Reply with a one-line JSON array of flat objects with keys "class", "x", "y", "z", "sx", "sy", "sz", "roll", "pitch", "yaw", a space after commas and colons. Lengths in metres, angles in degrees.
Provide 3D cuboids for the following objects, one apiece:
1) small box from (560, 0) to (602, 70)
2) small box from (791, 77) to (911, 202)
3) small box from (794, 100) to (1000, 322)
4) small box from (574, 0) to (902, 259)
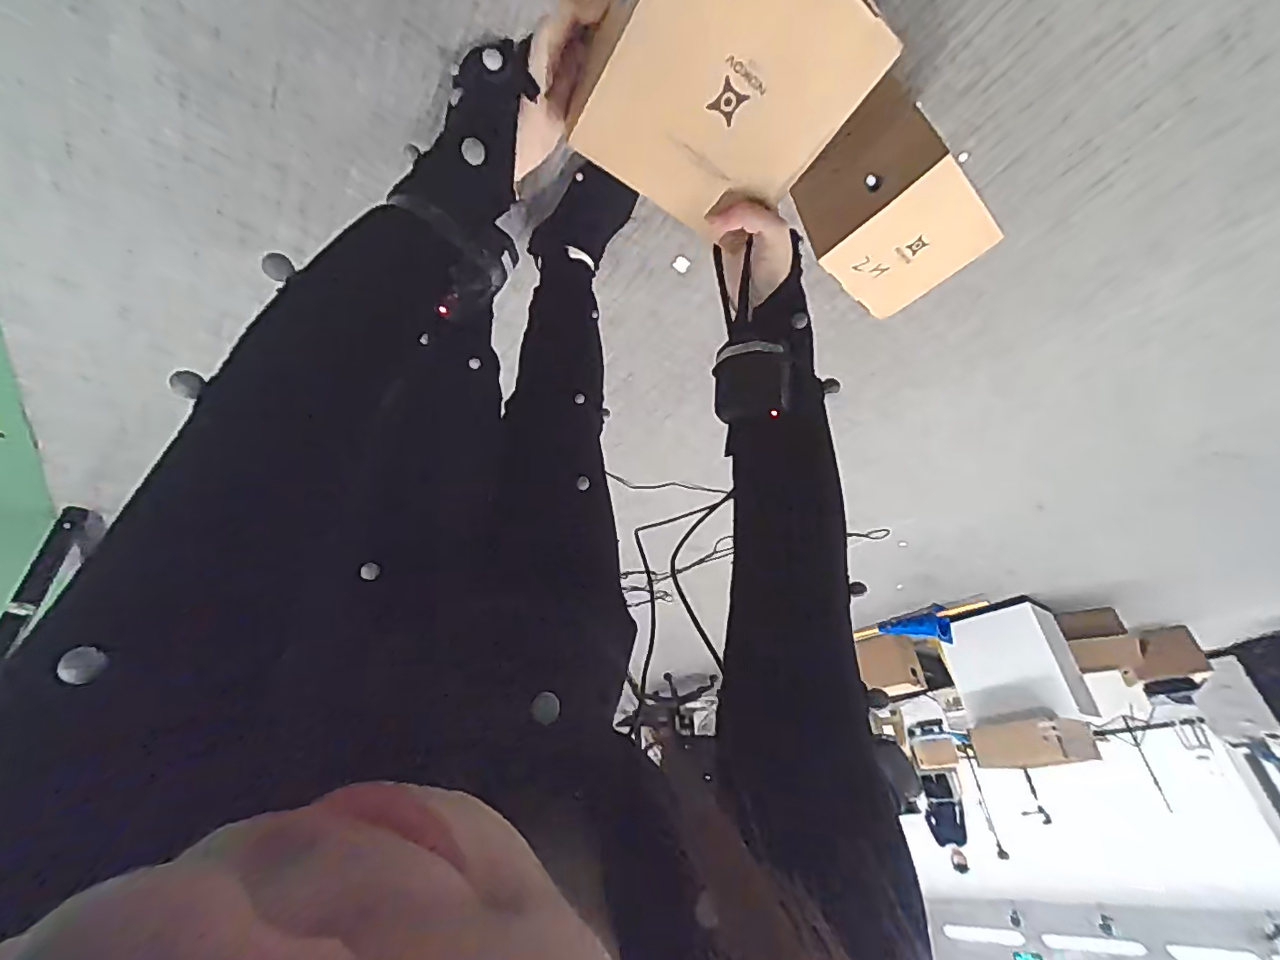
[{"class": "small box", "x": 0.037, "y": -0.472, "z": 0.519, "sx": 0.168, "sy": 0.176, "sz": 0.179, "roll": 17, "pitch": 142, "yaw": -30}, {"class": "small box", "x": 0.321, "y": -0.499, "z": 0.824, "sx": 0.168, "sy": 0.176, "sz": 0.179, "roll": 23, "pitch": 139, "yaw": -37}, {"class": "small box", "x": 0.338, "y": -0.361, "z": 0.735, "sx": 0.168, "sy": 0.176, "sz": 0.179, "roll": 22, "pitch": 139, "yaw": -35}, {"class": "small box", "x": 0.056, "y": -0.324, "z": 0.425, "sx": 0.168, "sy": 0.176, "sz": 0.179, "roll": 18, "pitch": 135, "yaw": -30}]
